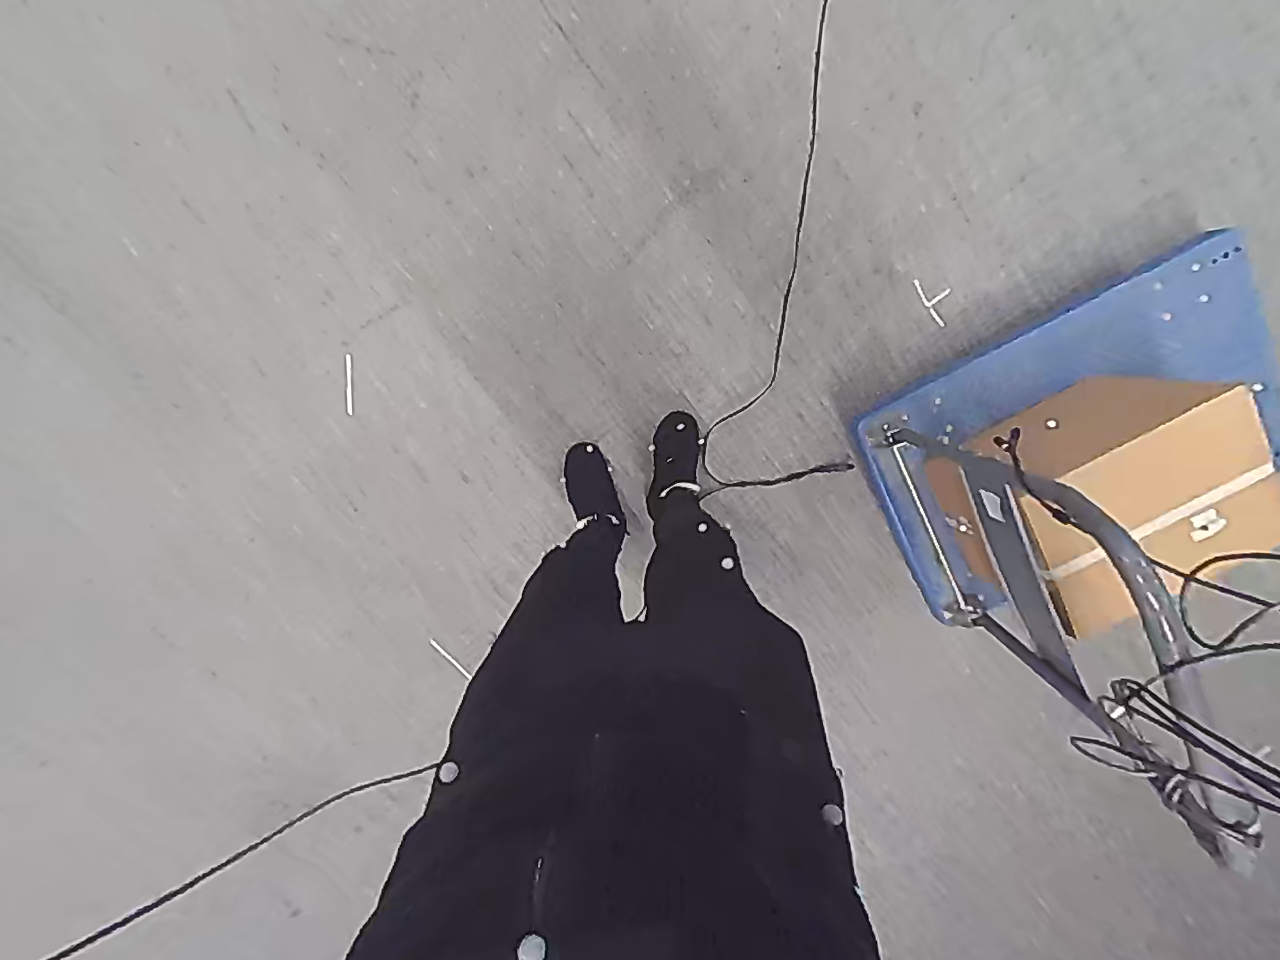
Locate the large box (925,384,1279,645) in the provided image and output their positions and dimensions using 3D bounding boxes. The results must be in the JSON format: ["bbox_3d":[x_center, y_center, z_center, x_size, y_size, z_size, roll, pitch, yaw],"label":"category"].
[{"bbox_3d":[0.875,0.042,1.066,0.408,0.320,0.320,-29,102,4],"label":"large box"}]
